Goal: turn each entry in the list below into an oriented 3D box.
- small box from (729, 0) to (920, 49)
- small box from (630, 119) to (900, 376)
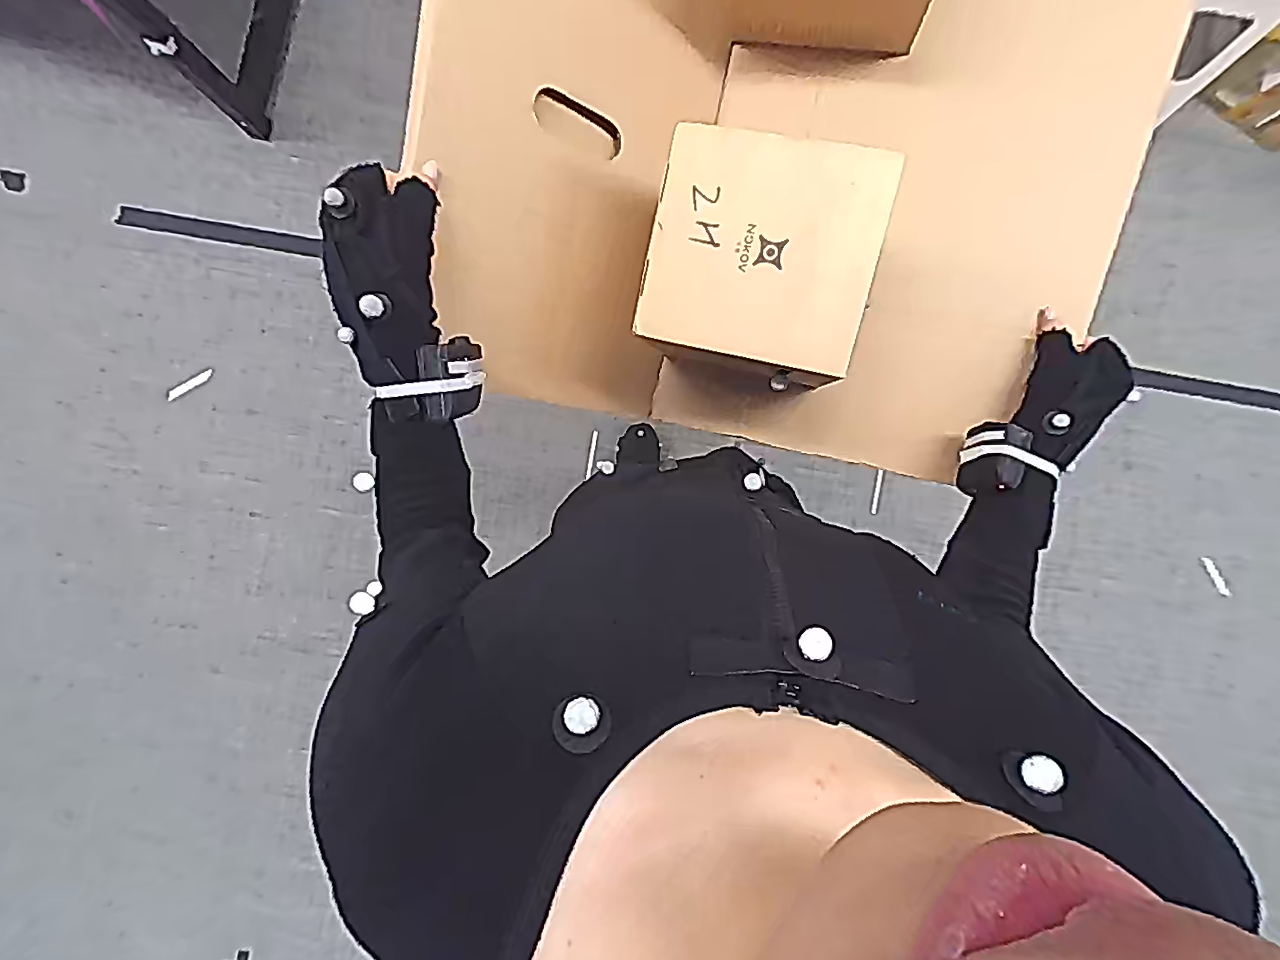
[{"bbox_3d":[0.172,-0.504,0.452,0.179,0.176,0.168,12,99,10],"label":"small box"},{"bbox_3d":[0.108,-0.196,0.504,0.179,0.176,0.168,15,100,10],"label":"small box"}]
